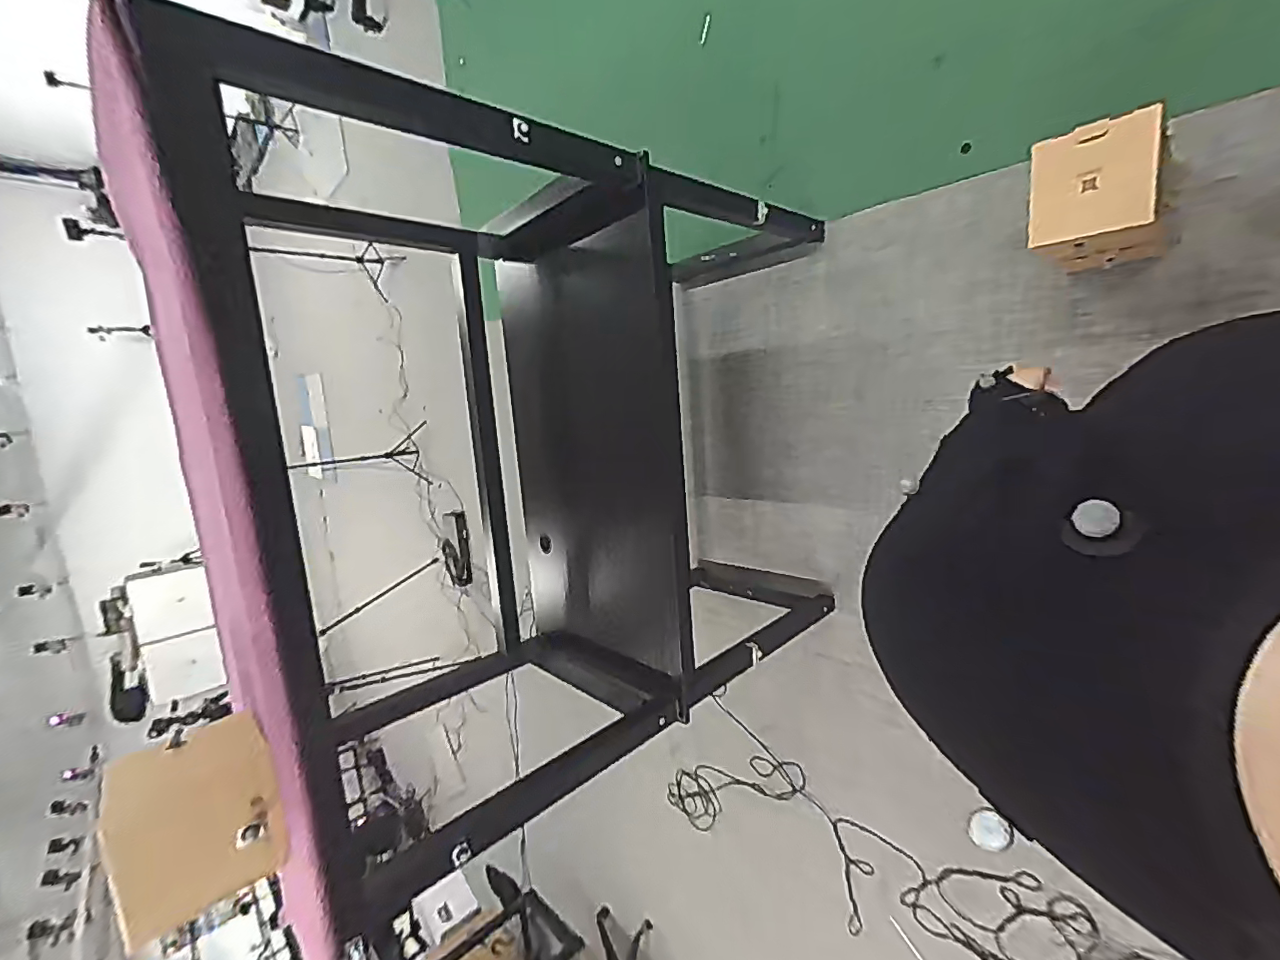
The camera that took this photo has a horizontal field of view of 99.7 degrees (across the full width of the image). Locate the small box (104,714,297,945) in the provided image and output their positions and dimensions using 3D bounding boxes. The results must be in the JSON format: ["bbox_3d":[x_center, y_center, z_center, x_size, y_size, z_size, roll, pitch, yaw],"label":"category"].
[{"bbox_3d":[-0.583,0.443,0.726,0.179,0.176,0.168,-1,99,46],"label":"small box"}]
